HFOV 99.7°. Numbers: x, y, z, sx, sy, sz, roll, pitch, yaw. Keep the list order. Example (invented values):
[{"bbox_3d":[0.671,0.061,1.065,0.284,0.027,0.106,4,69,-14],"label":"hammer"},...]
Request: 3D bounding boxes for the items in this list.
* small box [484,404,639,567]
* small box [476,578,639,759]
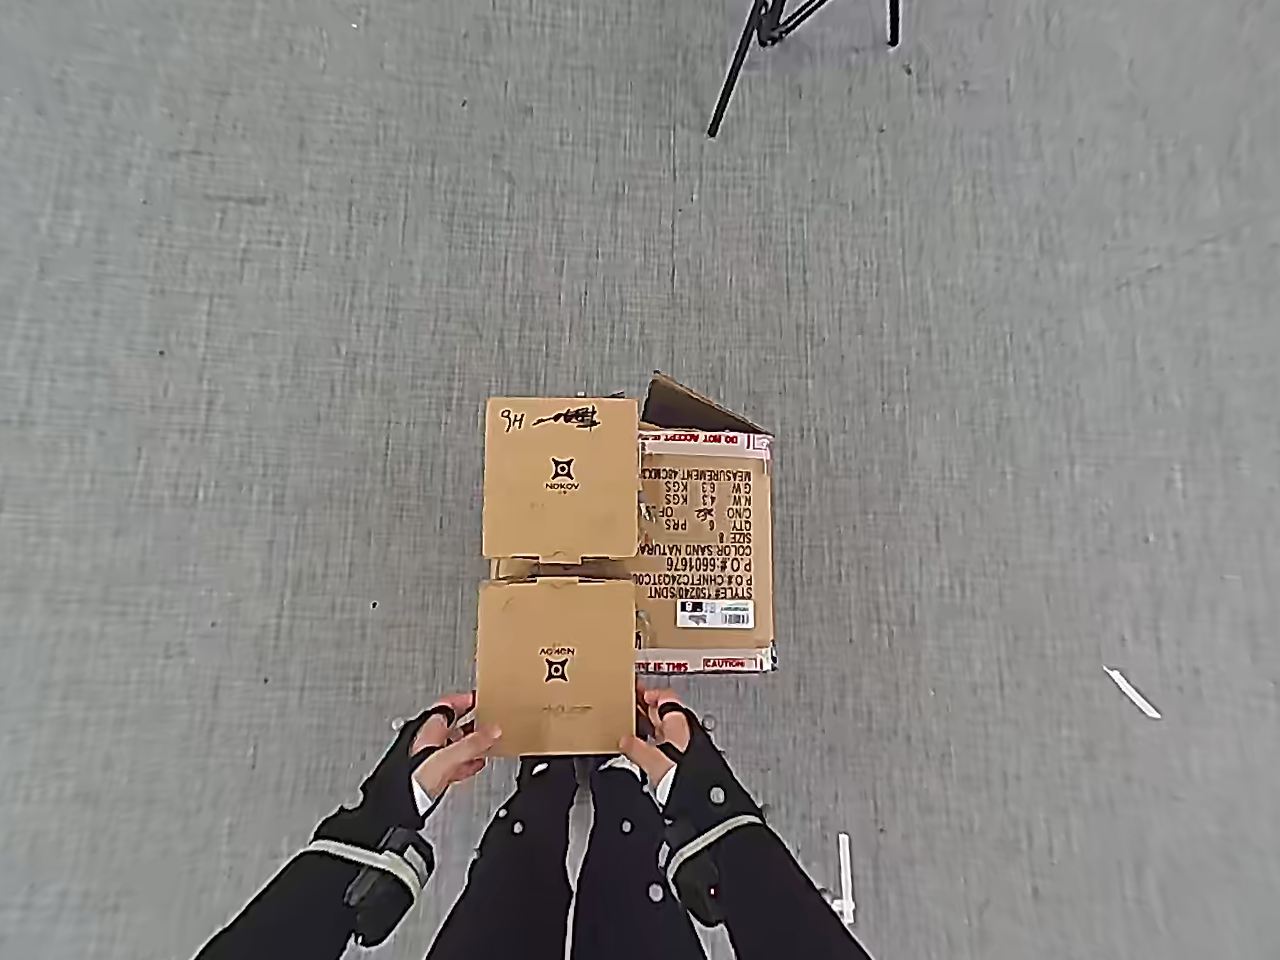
[{"bbox_3d":[-0.086,0.010,0.659,0.168,0.176,0.179,0,85,-3],"label":"small box"},{"bbox_3d":[-0.087,0.205,0.636,0.168,0.176,0.179,0,83,-2],"label":"small box"}]
